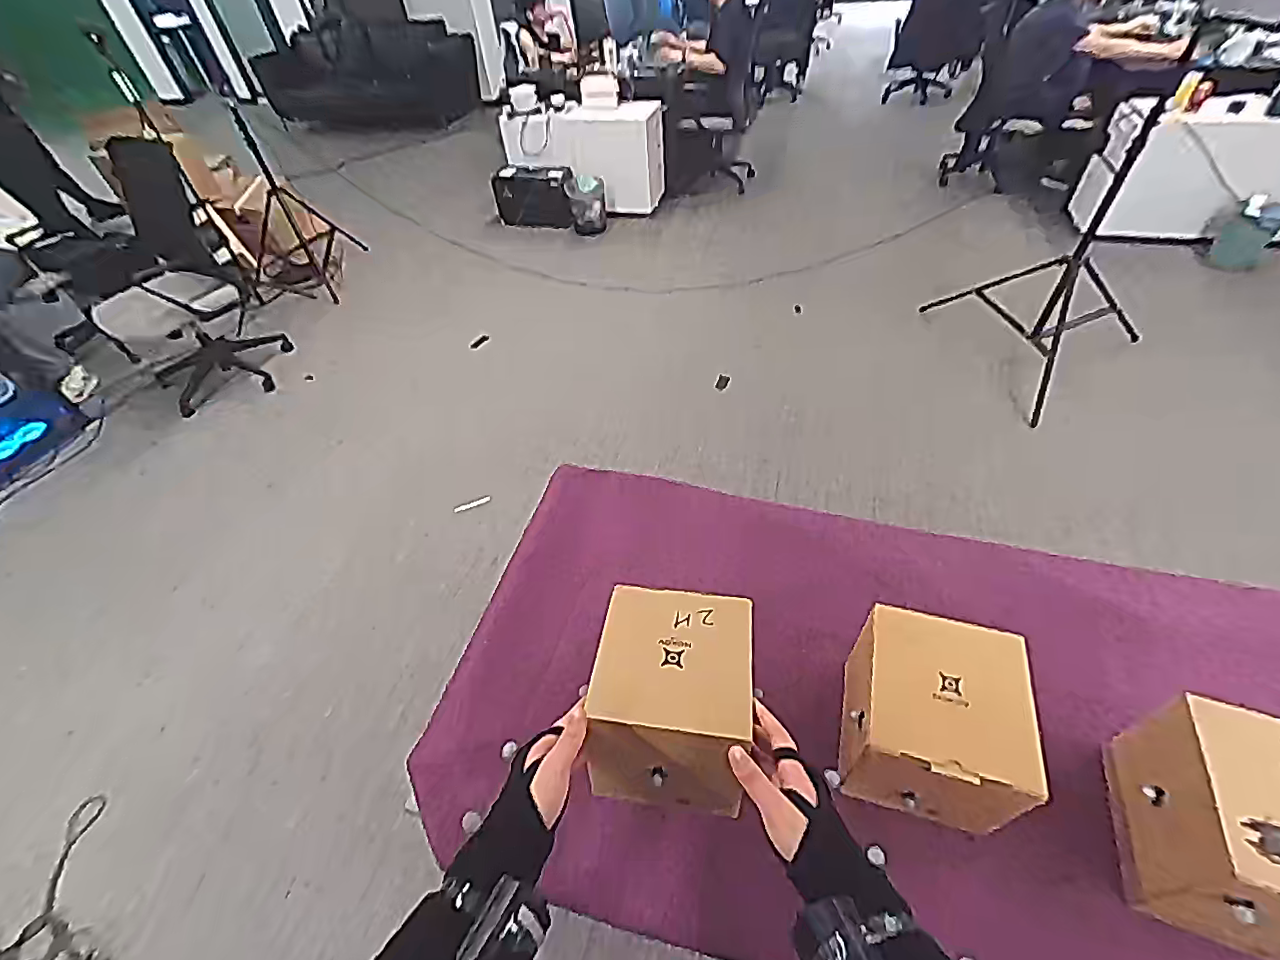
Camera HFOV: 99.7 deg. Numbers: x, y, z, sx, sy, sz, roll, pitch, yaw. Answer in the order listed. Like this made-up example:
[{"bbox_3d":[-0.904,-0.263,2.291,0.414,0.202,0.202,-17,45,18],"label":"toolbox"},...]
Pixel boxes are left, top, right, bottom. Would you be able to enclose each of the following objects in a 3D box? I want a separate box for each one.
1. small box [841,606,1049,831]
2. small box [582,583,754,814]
[{"bbox_3d":[0.346,0.285,0.649,0.168,0.176,0.179,10,49,15],"label":"small box"},{"bbox_3d":[0.040,0.245,0.616,0.168,0.176,0.179,5,34,8],"label":"small box"}]
